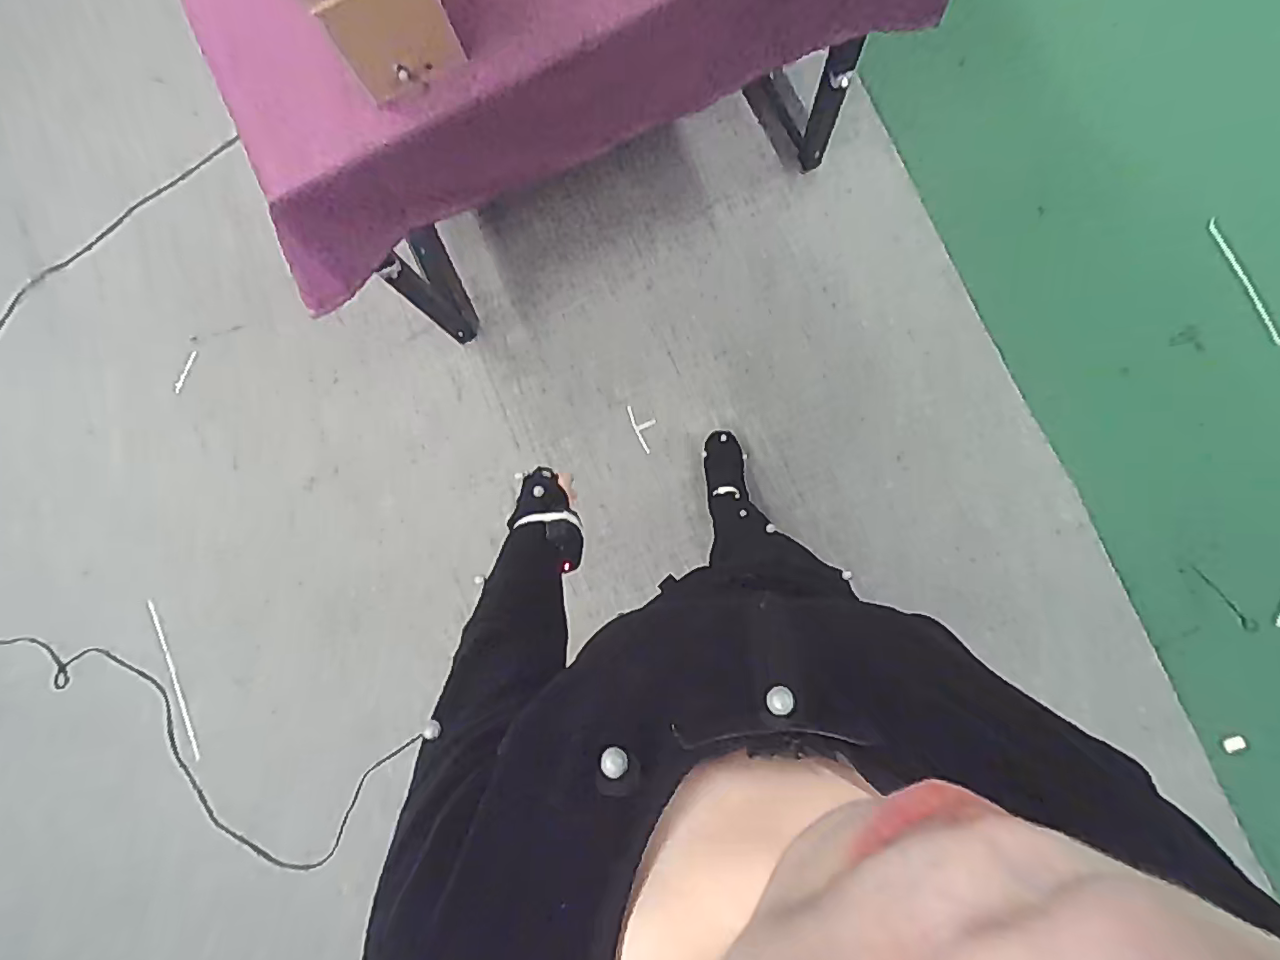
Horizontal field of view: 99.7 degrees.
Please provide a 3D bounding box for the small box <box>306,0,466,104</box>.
[{"bbox_3d":[-0.390,-0.722,0.807,0.168,0.176,0.179,-24,84,3],"label":"small box"}]
